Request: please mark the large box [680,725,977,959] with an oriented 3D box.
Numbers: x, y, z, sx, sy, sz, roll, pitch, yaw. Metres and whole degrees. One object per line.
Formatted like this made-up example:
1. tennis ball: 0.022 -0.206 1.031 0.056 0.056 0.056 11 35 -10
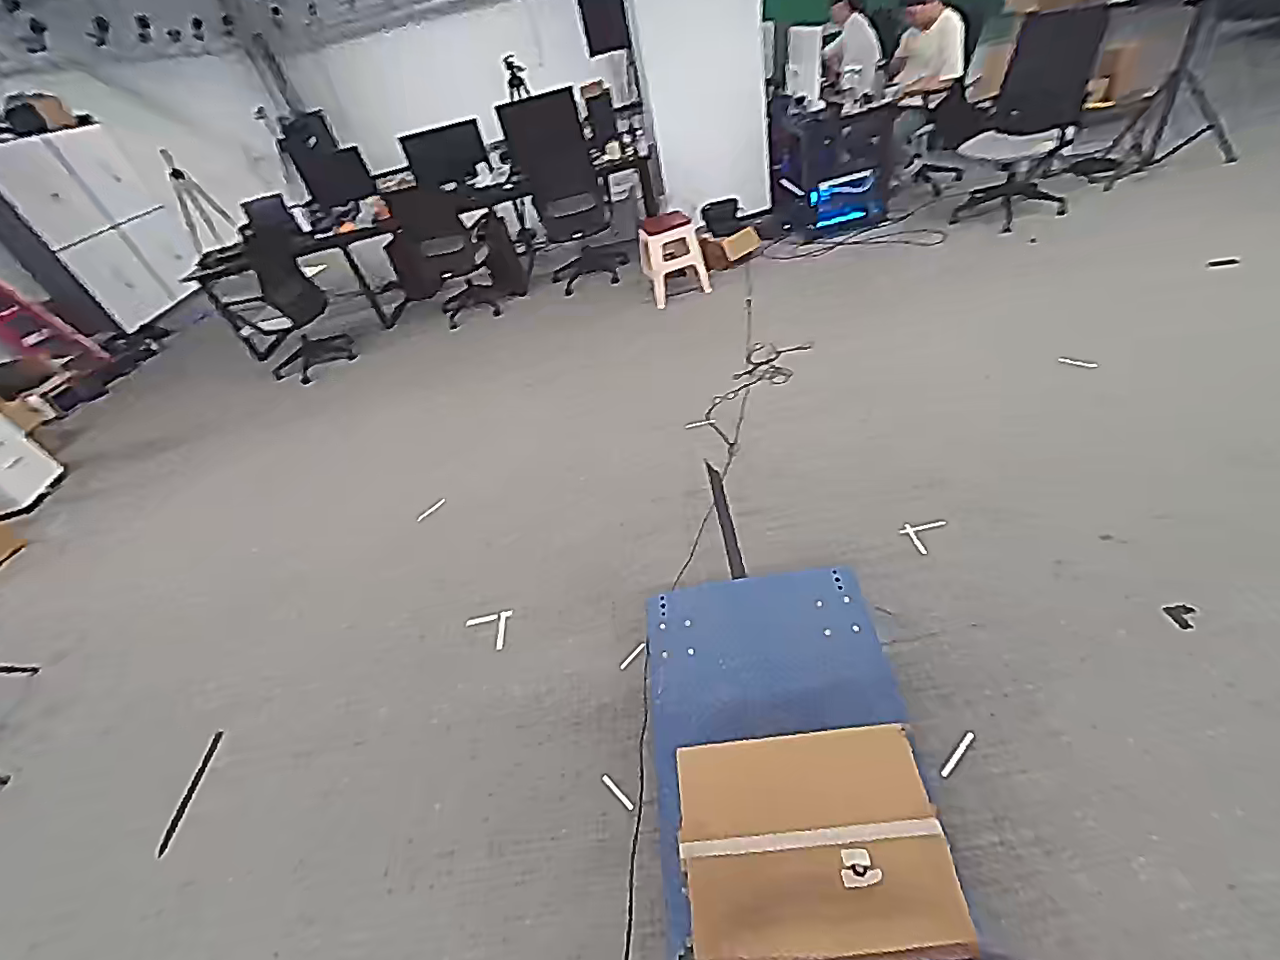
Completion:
1. large box: 0.305 0.682 0.992 0.408 0.320 0.320 -10 49 6
